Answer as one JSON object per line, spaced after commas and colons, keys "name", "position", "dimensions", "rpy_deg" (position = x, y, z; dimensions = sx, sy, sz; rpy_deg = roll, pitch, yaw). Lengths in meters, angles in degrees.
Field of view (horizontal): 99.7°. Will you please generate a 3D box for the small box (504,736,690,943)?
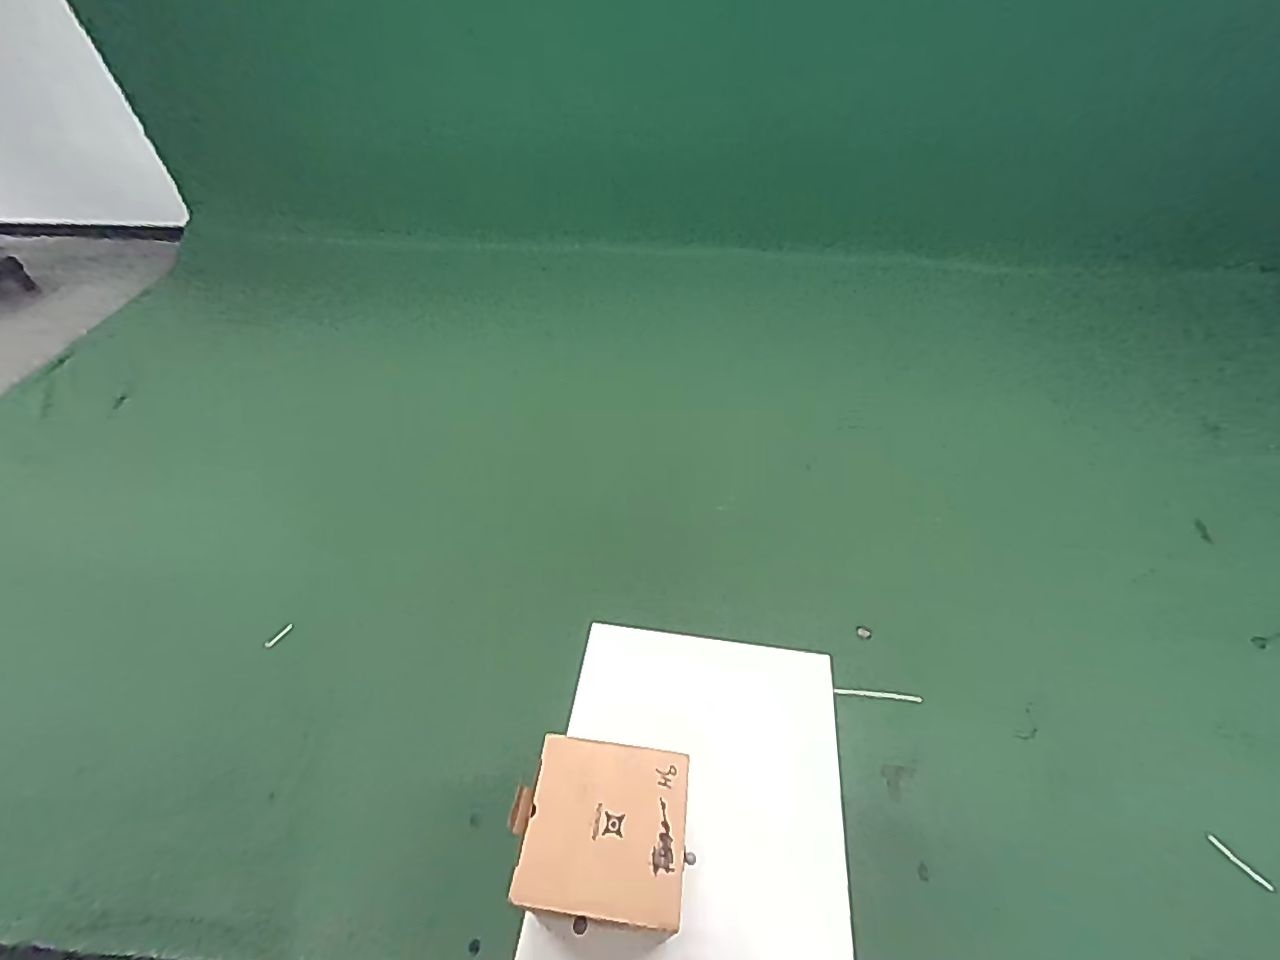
{"name": "small box", "position": [-0.038, 0.425, 0.637], "dimensions": [0.179, 0.176, 0.168], "rpy_deg": [6, 48, 5]}
